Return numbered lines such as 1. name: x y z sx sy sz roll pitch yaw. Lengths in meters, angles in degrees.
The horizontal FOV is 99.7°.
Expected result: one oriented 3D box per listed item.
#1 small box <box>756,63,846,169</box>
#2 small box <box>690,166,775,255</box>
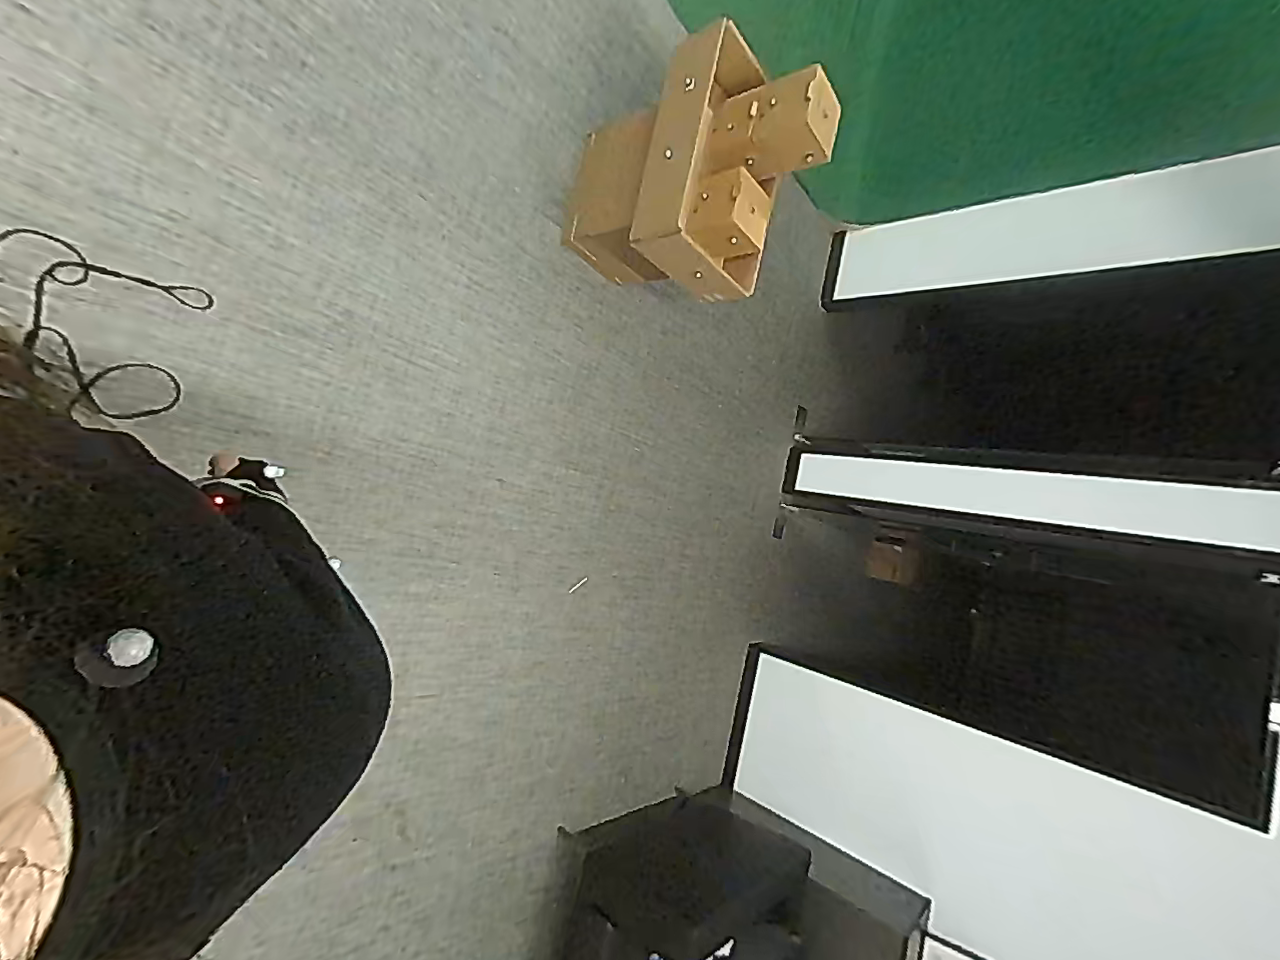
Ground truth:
1. small box: 0.455 -1.015 1.530 0.179 0.176 0.168 18 83 -48
2. small box: 0.276 -0.795 1.619 0.179 0.176 0.168 17 83 -47
